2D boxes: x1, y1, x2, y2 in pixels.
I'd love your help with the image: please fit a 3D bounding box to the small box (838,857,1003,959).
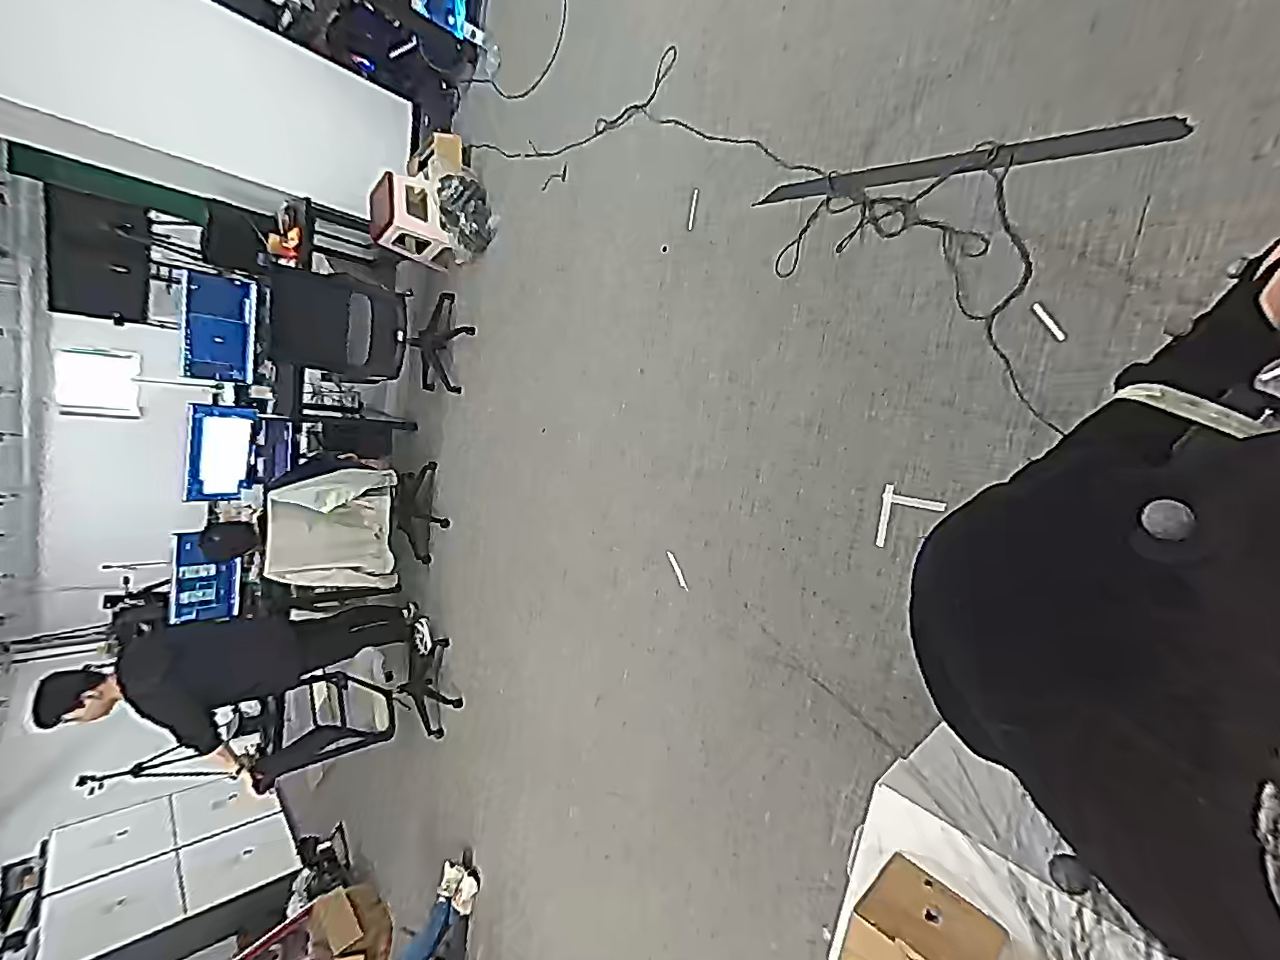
[{"bbox_3d":[0.403,0.708,0.789,0.168,0.176,0.179,20,103,43],"label":"small box"}]
